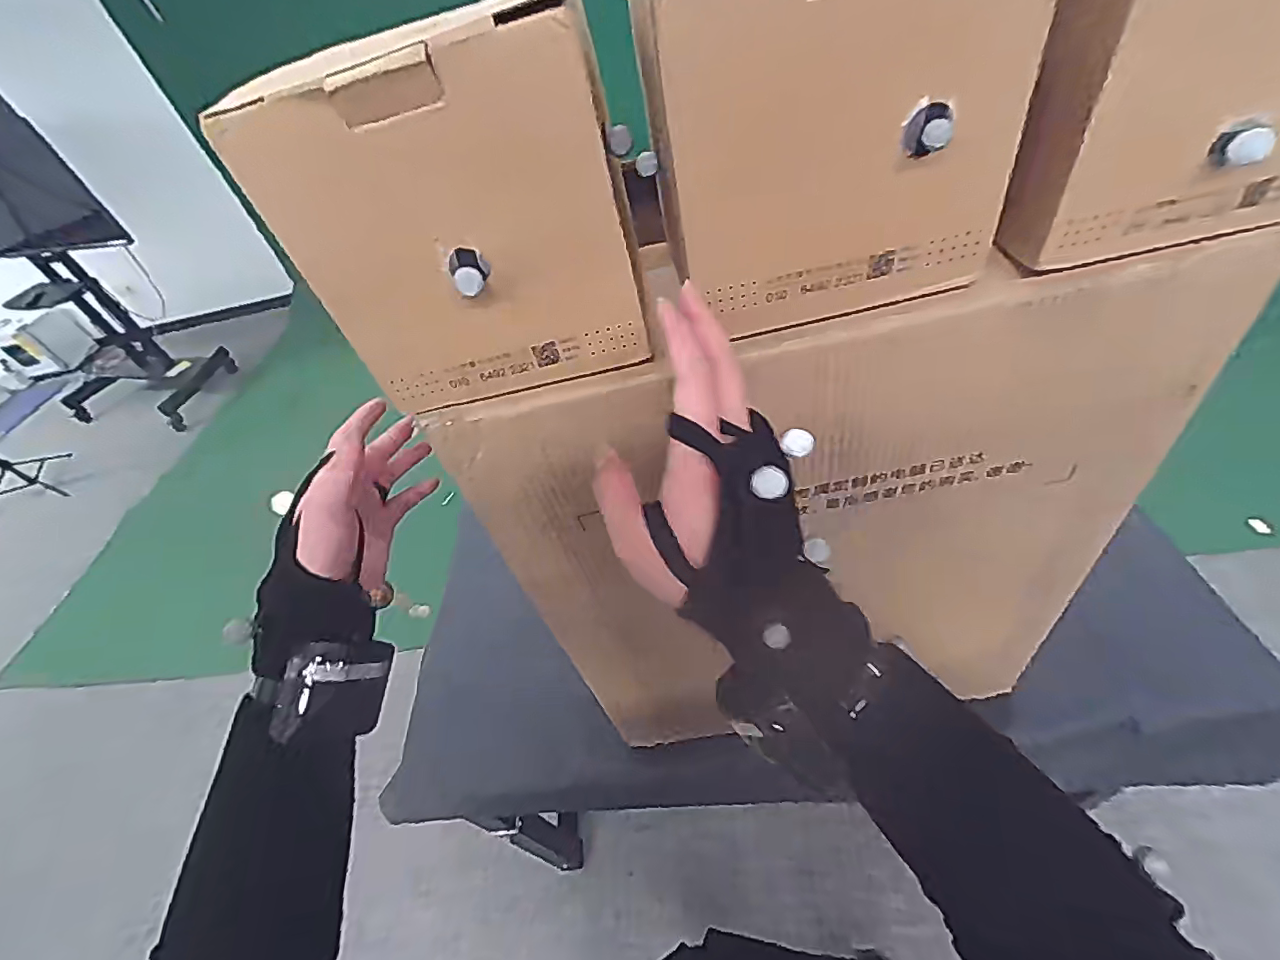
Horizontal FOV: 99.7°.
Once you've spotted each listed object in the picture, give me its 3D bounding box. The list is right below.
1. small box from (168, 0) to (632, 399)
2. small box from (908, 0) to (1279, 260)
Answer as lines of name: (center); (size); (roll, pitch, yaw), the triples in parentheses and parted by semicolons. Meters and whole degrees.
small box: (-0.105, -0.167, 0.327); (0.168, 0.176, 0.179); (-12, 46, 7)
small box: (0.265, -0.243, 0.285); (0.168, 0.176, 0.179); (-11, 47, 6)
